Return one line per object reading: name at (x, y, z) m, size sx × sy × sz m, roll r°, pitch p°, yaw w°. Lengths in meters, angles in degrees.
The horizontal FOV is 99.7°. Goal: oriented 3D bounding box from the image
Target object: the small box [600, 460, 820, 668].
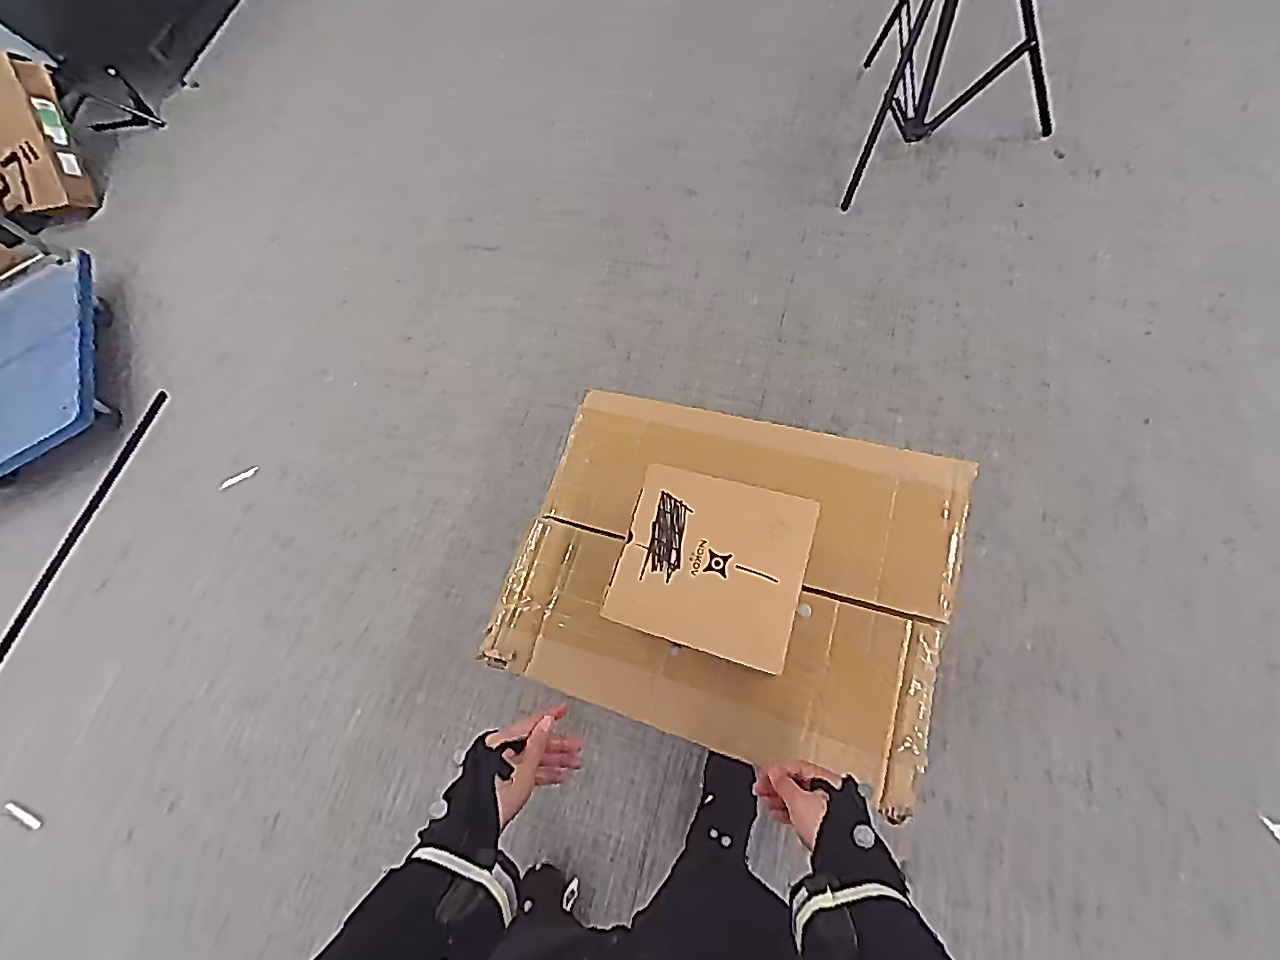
small box at (0.082, 0.099, 0.587) m, size 0.179 × 0.176 × 0.168 m, roll 14°, pitch 74°, yaw 17°
